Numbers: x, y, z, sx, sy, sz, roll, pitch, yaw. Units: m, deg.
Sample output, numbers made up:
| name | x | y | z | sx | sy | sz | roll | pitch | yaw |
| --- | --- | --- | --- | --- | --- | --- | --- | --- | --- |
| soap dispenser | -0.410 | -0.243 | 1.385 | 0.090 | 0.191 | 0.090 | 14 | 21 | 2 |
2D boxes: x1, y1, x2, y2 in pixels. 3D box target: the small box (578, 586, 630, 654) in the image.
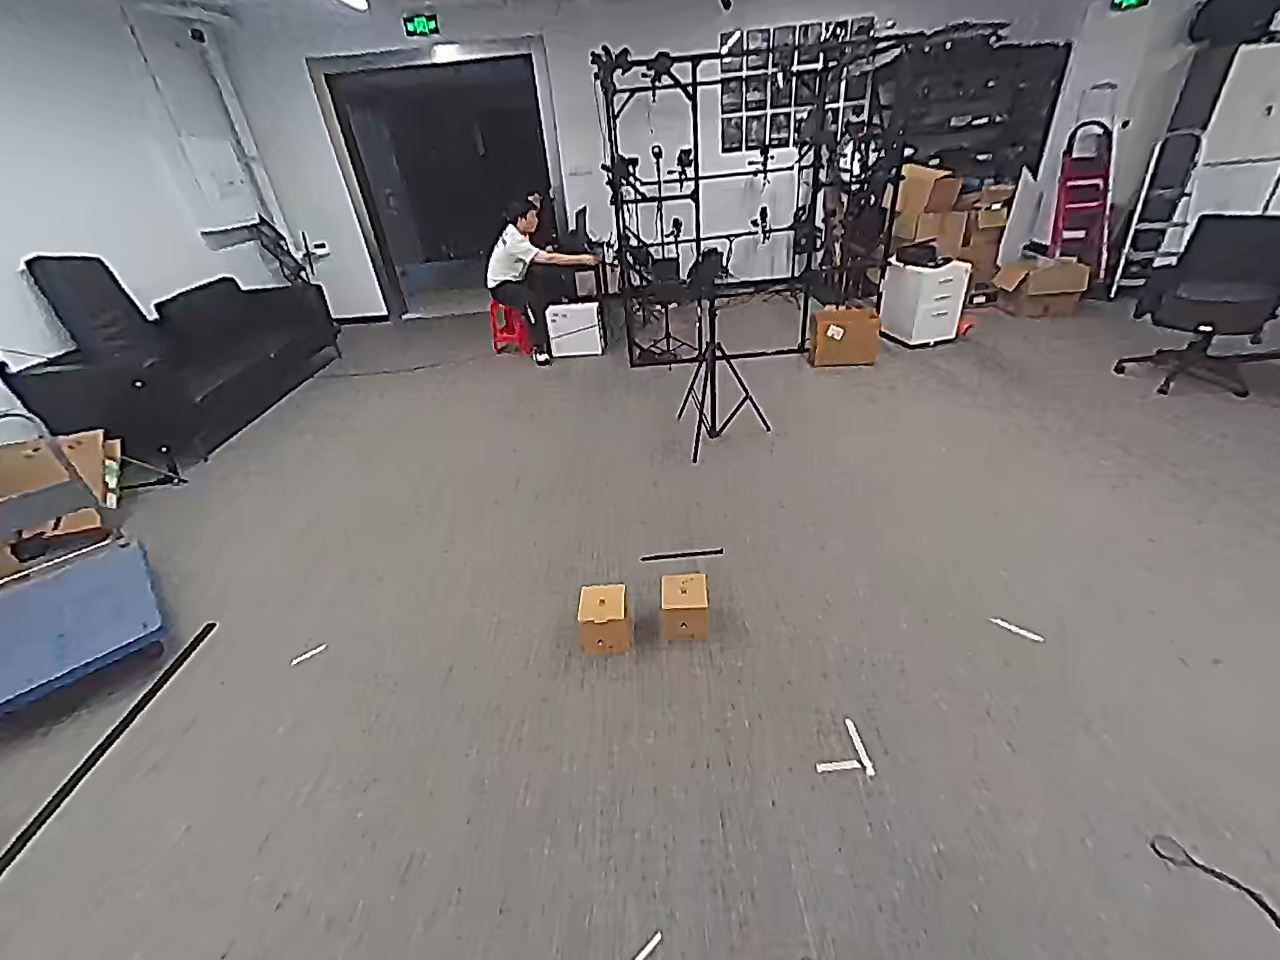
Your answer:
| name | x | y | z | sx | sy | sz | roll | pitch | yaw |
| --- | --- | --- | --- | --- | --- | --- | --- | --- | --- |
| small box | -0.129 | 0.516 | 1.998 | 0.168 | 0.176 | 0.179 | -5 | 32 | 3 |

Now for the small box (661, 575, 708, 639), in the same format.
| name | x | y | z | sx | sy | sz | roll | pitch | yaw |
| --- | --- | --- | --- | --- | --- | --- | --- | --- | --- |
| small box | 0.167 | 0.475 | 2.010 | 0.168 | 0.176 | 0.179 | -2 | 31 | 4 |
